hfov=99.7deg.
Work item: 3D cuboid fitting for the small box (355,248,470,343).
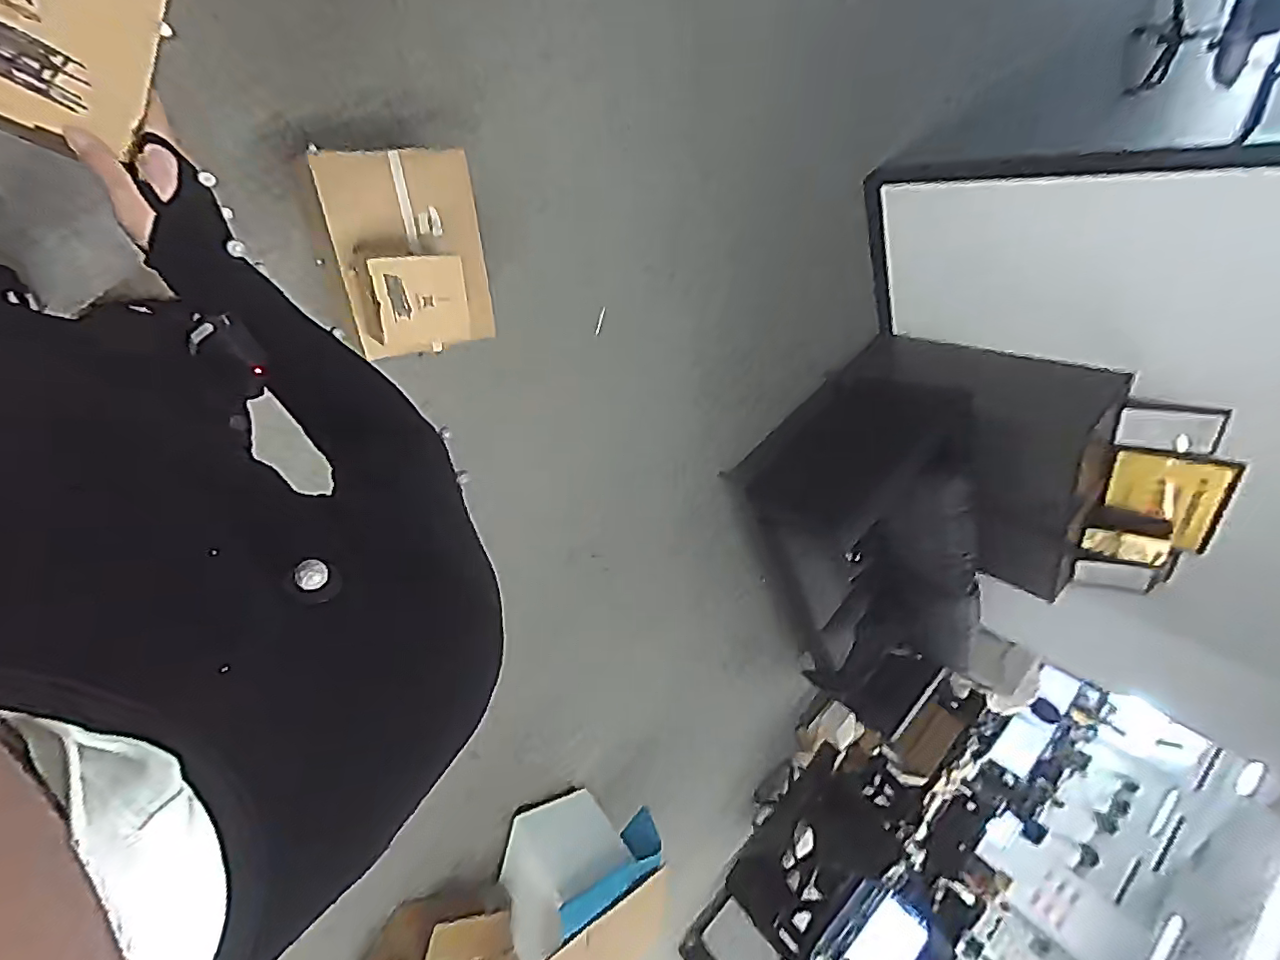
[{"bbox_3d":[-0.476,-0.387,1.121,0.179,0.176,0.168,-18,122,-32],"label":"small box"}]

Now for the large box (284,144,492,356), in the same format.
[{"bbox_3d":[-0.591,-0.548,1.288,0.320,0.320,0.408,-23,124,-31],"label":"large box"}]
